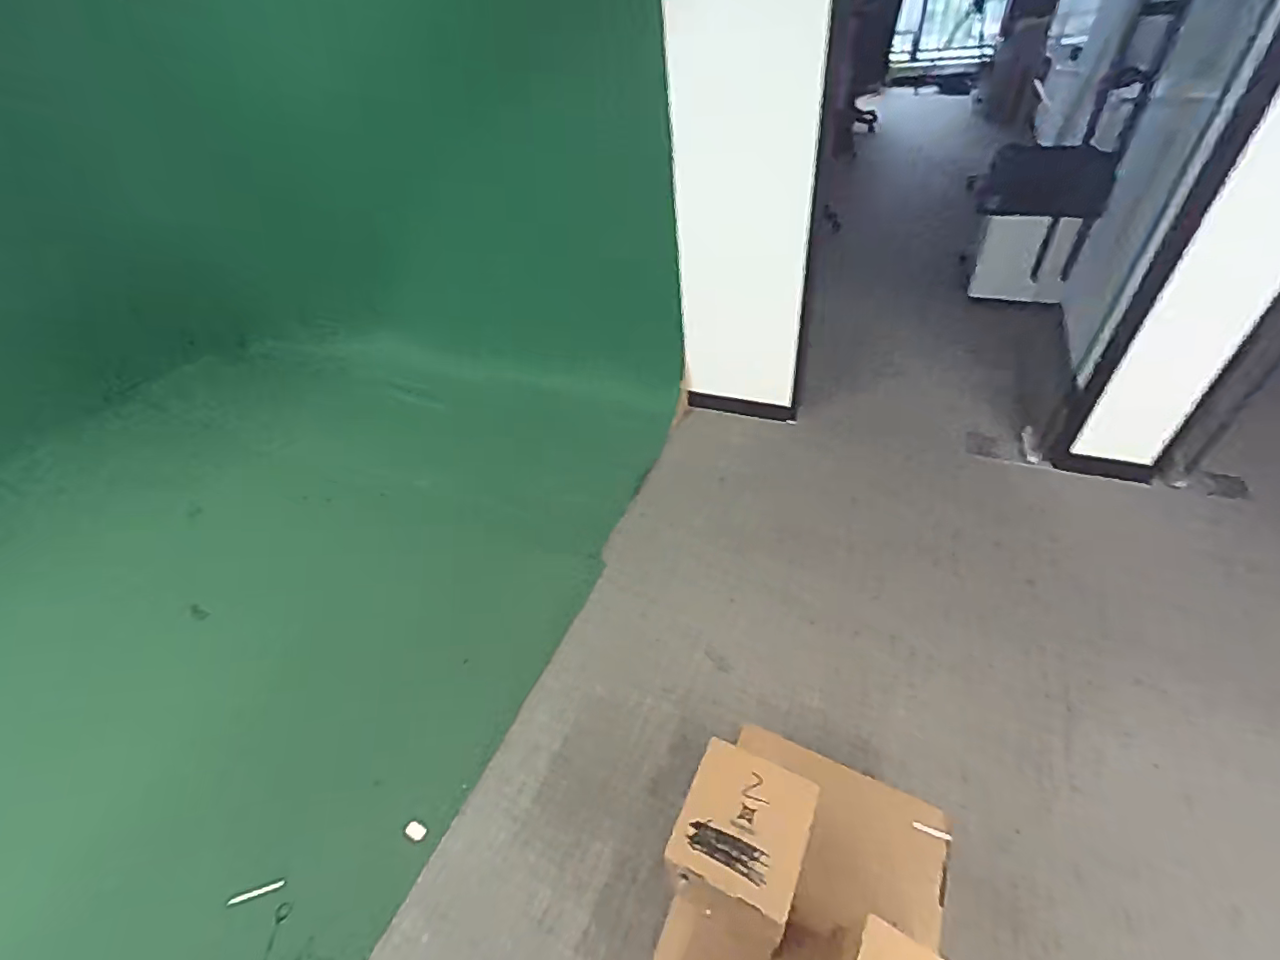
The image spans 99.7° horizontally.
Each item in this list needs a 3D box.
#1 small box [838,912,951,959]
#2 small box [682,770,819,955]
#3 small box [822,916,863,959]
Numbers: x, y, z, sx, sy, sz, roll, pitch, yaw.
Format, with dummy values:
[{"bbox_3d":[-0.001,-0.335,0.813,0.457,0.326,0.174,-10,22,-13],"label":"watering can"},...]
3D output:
[{"bbox_3d":[0.316,0.652,0.625,0.179,0.176,0.168,20,50,26],"label":"small box"},{"bbox_3d":[0.182,0.637,0.903,0.168,0.176,0.179,18,48,27],"label":"small box"},{"bbox_3d":[0.328,0.762,0.746,0.168,0.176,0.179,20,49,25],"label":"small box"}]
